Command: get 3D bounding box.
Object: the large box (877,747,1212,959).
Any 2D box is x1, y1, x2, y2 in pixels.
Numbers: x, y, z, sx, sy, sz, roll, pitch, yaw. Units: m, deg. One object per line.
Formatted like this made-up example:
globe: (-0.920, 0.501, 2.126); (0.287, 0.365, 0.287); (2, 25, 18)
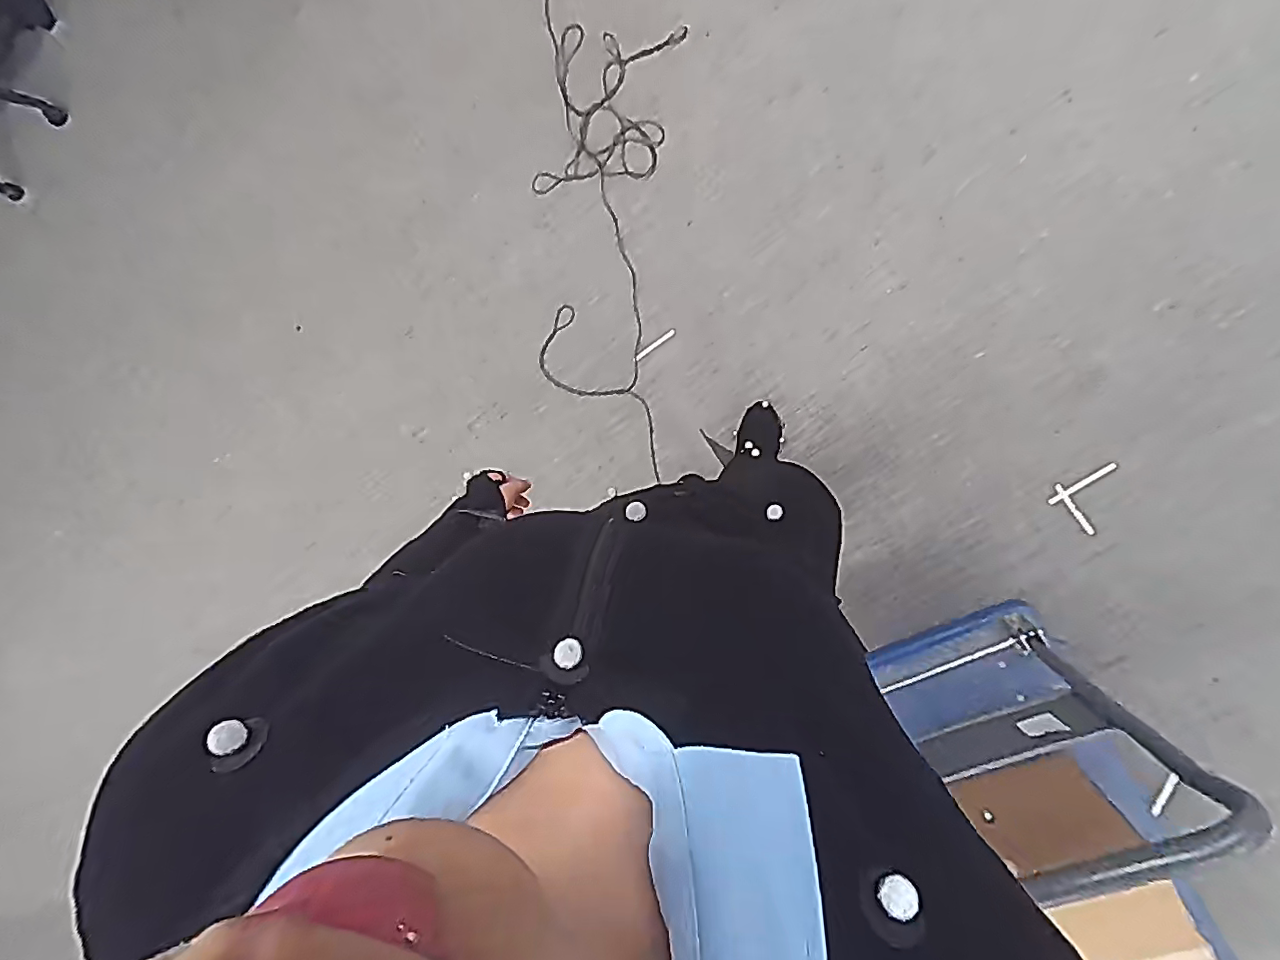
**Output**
large box: (0.742, 0.792, 1.042); (0.408, 0.320, 0.320); (-27, 88, 14)
